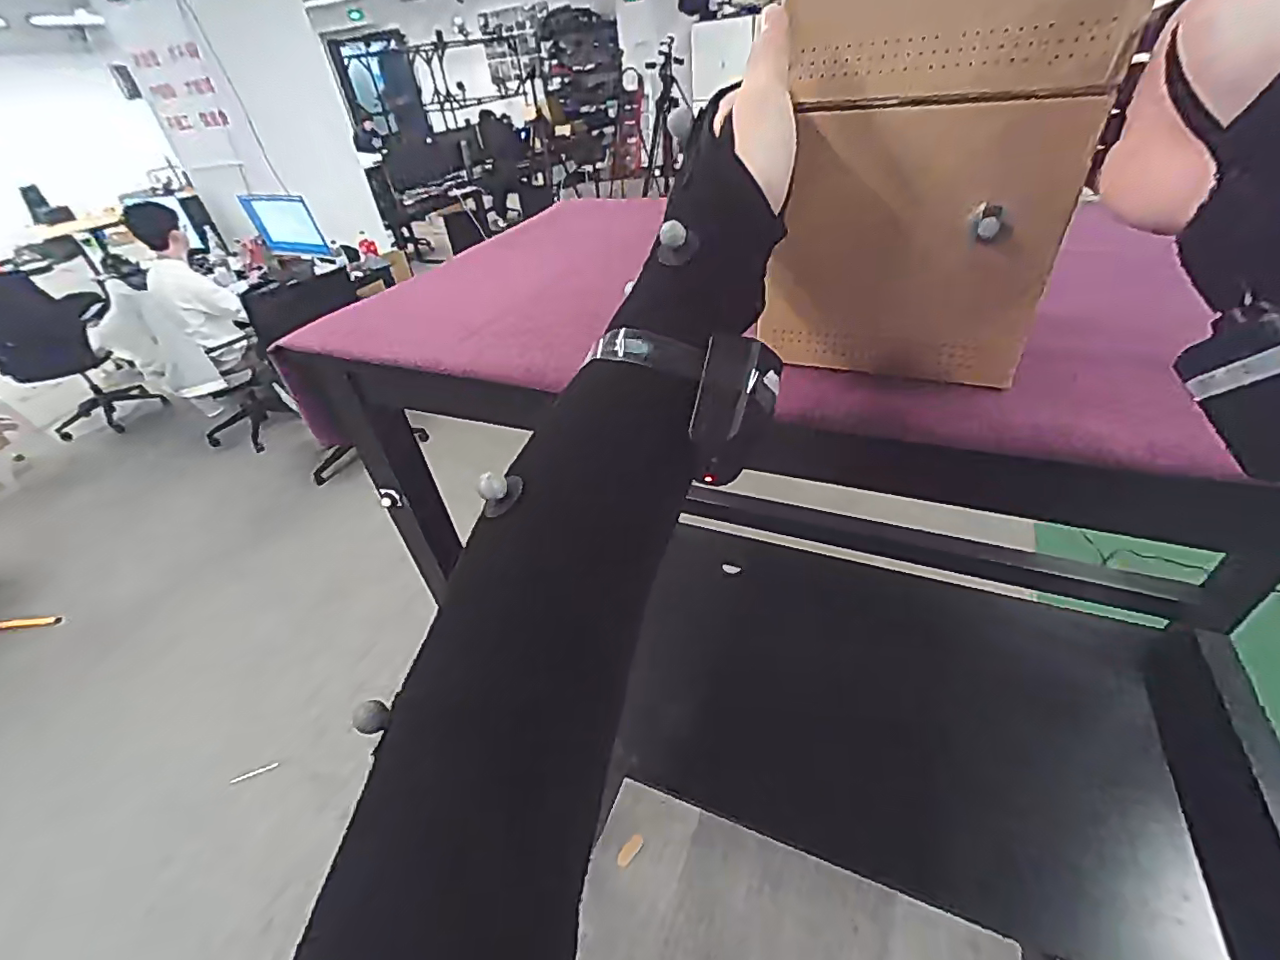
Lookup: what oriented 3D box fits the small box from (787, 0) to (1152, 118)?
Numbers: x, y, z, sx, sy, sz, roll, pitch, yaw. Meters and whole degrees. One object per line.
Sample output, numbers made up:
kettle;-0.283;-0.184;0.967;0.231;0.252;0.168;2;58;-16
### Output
small box;0.189;-0.317;0.308;0.179;0.176;0.168;11;41;22
